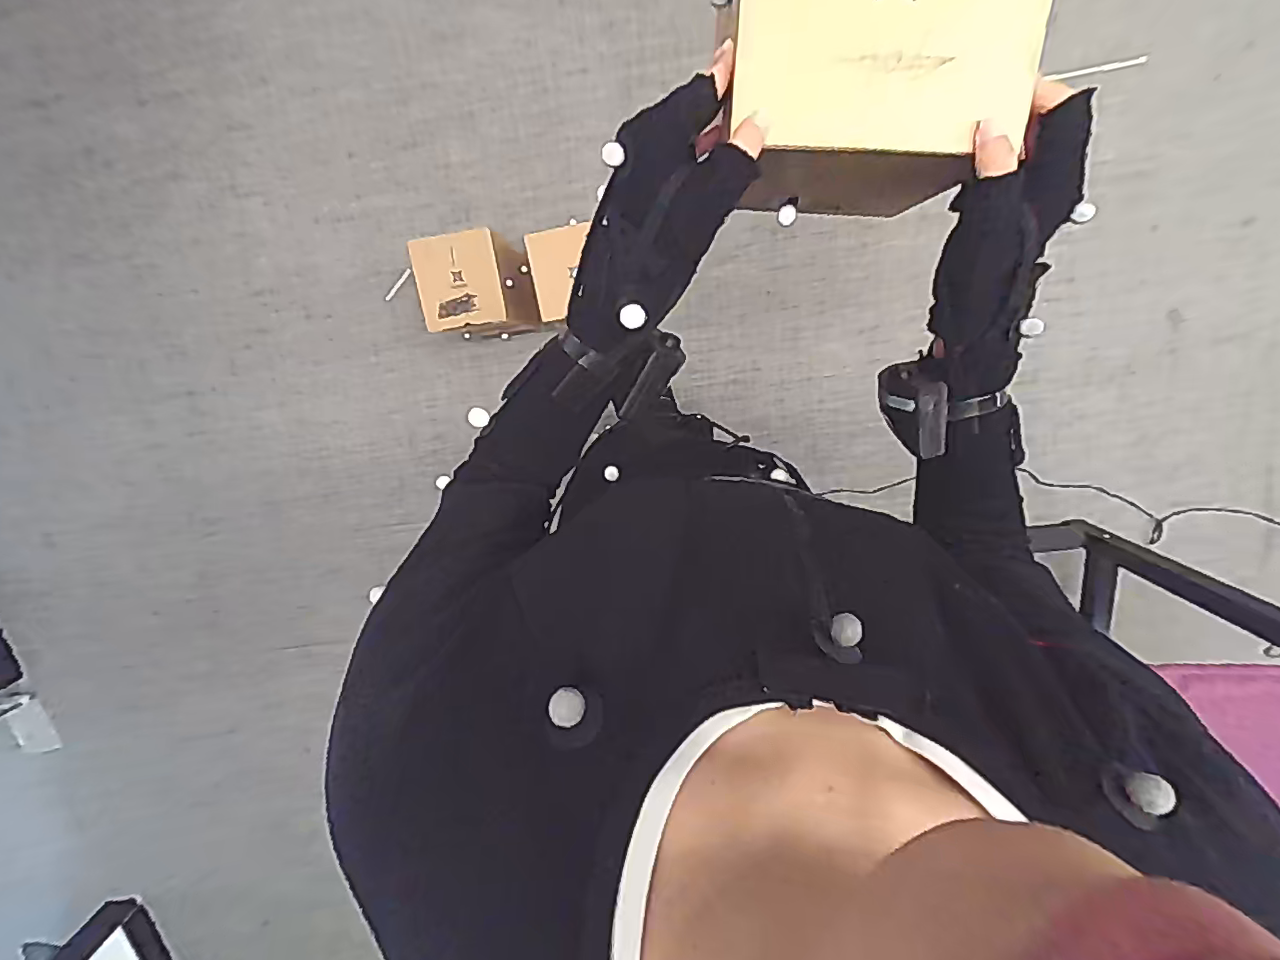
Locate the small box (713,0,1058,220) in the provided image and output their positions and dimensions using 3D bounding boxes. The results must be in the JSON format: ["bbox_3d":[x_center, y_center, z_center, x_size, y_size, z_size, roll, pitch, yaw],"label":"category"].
[{"bbox_3d":[0.142,-0.289,0.362,0.168,0.176,0.179,3,106,2],"label":"small box"}]

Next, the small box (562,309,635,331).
[{"bbox_3d":[-0.107,-0.455,1.279,0.168,0.176,0.179,-9,104,5],"label":"small box"}]

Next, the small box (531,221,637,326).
[{"bbox_3d":[-0.108,-0.418,1.120,0.179,0.176,0.168,-10,105,4],"label":"small box"}]
